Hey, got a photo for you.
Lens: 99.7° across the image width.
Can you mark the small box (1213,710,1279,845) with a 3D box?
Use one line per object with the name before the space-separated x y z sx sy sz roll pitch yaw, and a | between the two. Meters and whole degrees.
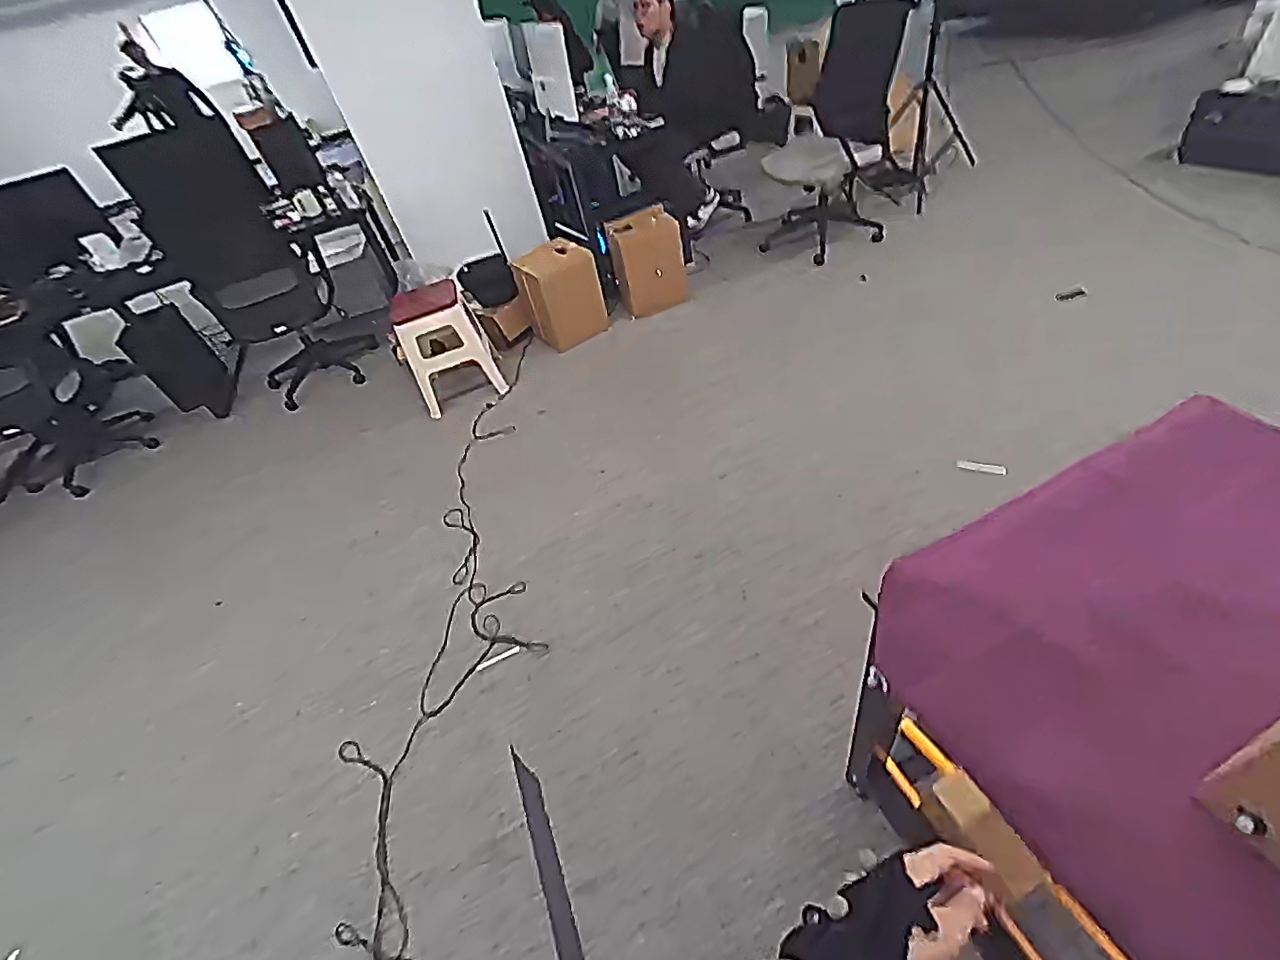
small box | 0.608 0.234 0.409 0.179 0.176 0.168 -26 45 -12
